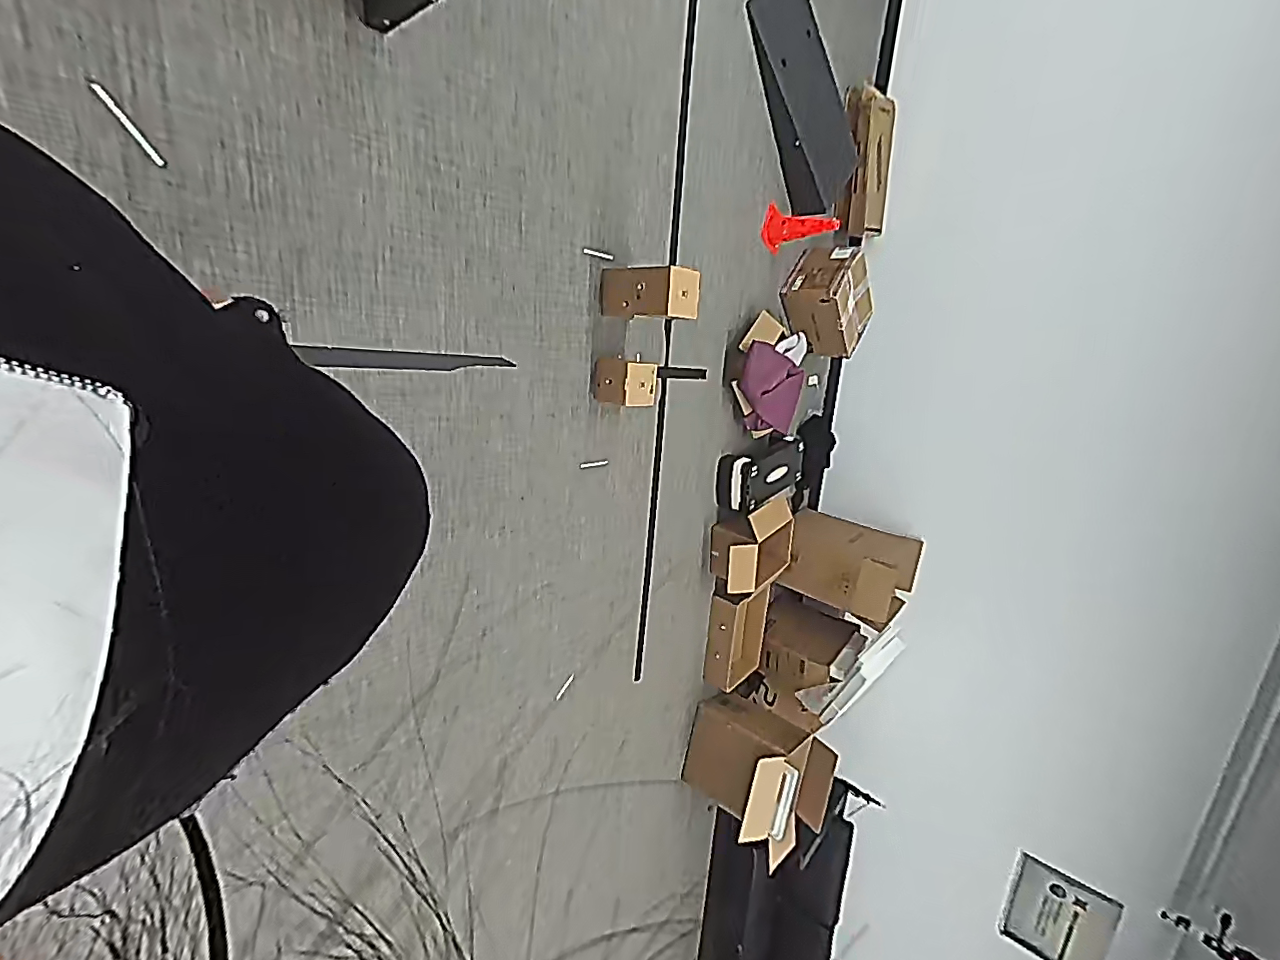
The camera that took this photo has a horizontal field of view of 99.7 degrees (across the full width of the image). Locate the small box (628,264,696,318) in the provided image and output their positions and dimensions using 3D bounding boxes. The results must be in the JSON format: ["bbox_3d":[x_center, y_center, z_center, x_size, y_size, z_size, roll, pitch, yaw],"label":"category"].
[{"bbox_3d":[0.080,-0.676,1.946,0.179,0.176,0.168,-13,111,-47],"label":"small box"}]

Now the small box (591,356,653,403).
[{"bbox_3d":[-0.073,-0.395,2.130,0.179,0.176,0.168,-10,111,-48],"label":"small box"}]

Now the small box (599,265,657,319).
[{"bbox_3d":[-0.041,-0.711,2.050,0.168,0.176,0.179,-15,114,-48],"label":"small box"}]
